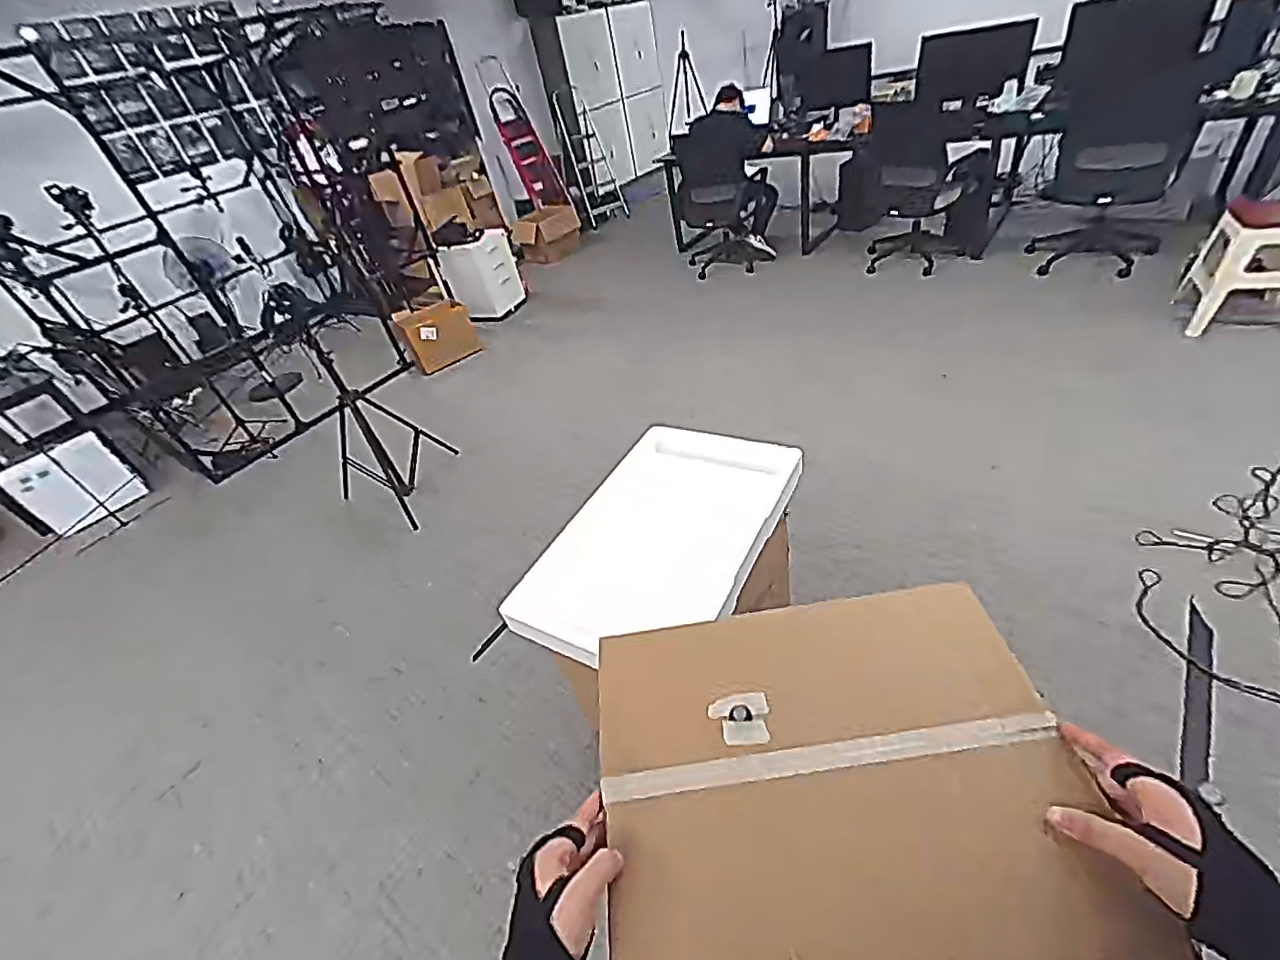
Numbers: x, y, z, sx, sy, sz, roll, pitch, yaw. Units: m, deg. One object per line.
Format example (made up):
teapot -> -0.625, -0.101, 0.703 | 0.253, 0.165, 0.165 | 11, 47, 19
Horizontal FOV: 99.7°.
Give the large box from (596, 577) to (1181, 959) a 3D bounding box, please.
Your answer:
large box -> 0.187, 0.348, 0.582 | 0.408, 0.320, 0.320 | -11, 43, 3
